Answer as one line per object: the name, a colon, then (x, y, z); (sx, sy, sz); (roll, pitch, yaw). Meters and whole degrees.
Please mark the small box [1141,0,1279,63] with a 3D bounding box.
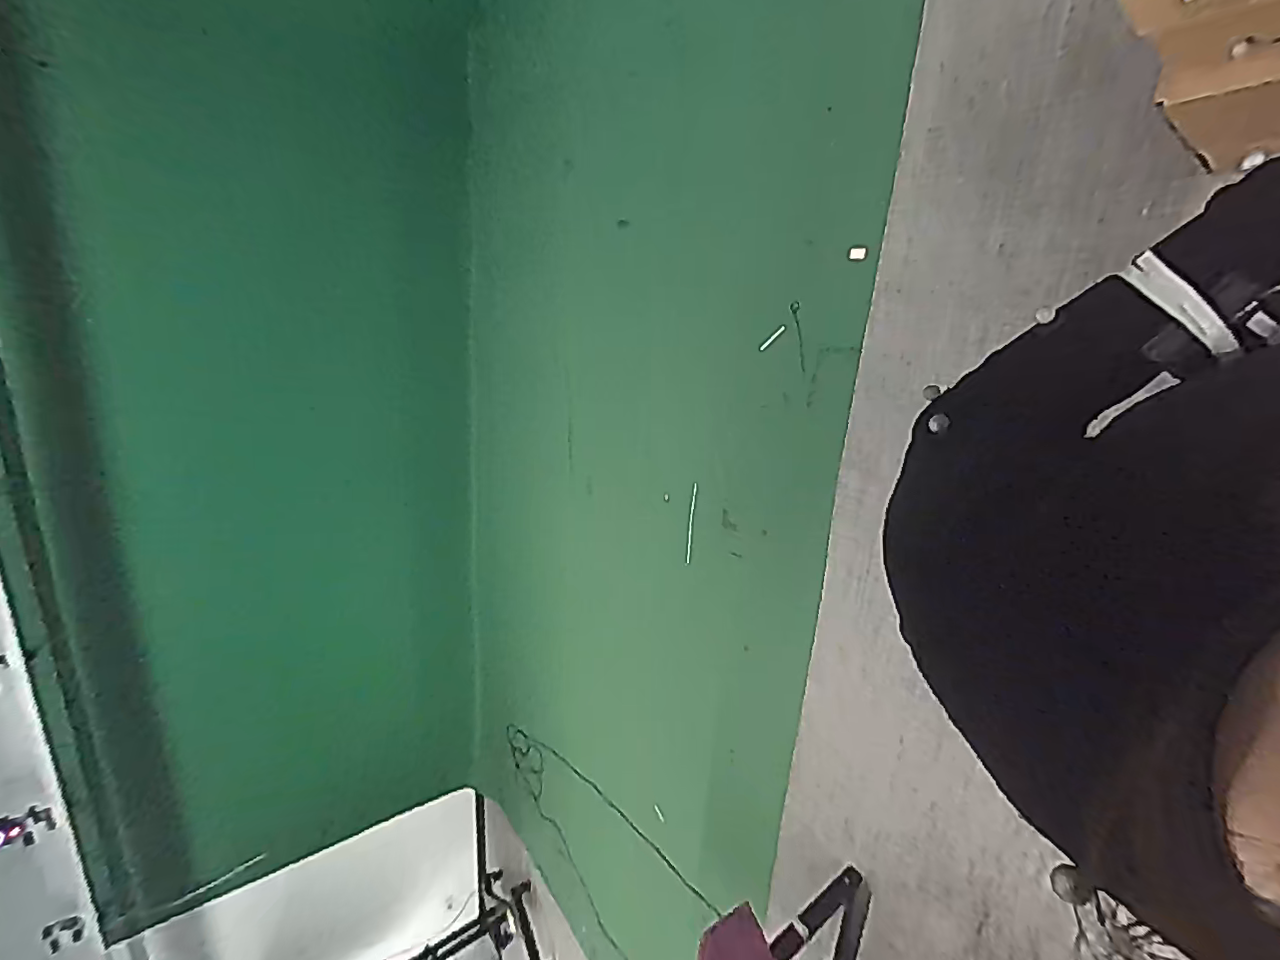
small box: (0.719, -0.623, 0.617); (0.168, 0.176, 0.179); (23, 117, 47)
